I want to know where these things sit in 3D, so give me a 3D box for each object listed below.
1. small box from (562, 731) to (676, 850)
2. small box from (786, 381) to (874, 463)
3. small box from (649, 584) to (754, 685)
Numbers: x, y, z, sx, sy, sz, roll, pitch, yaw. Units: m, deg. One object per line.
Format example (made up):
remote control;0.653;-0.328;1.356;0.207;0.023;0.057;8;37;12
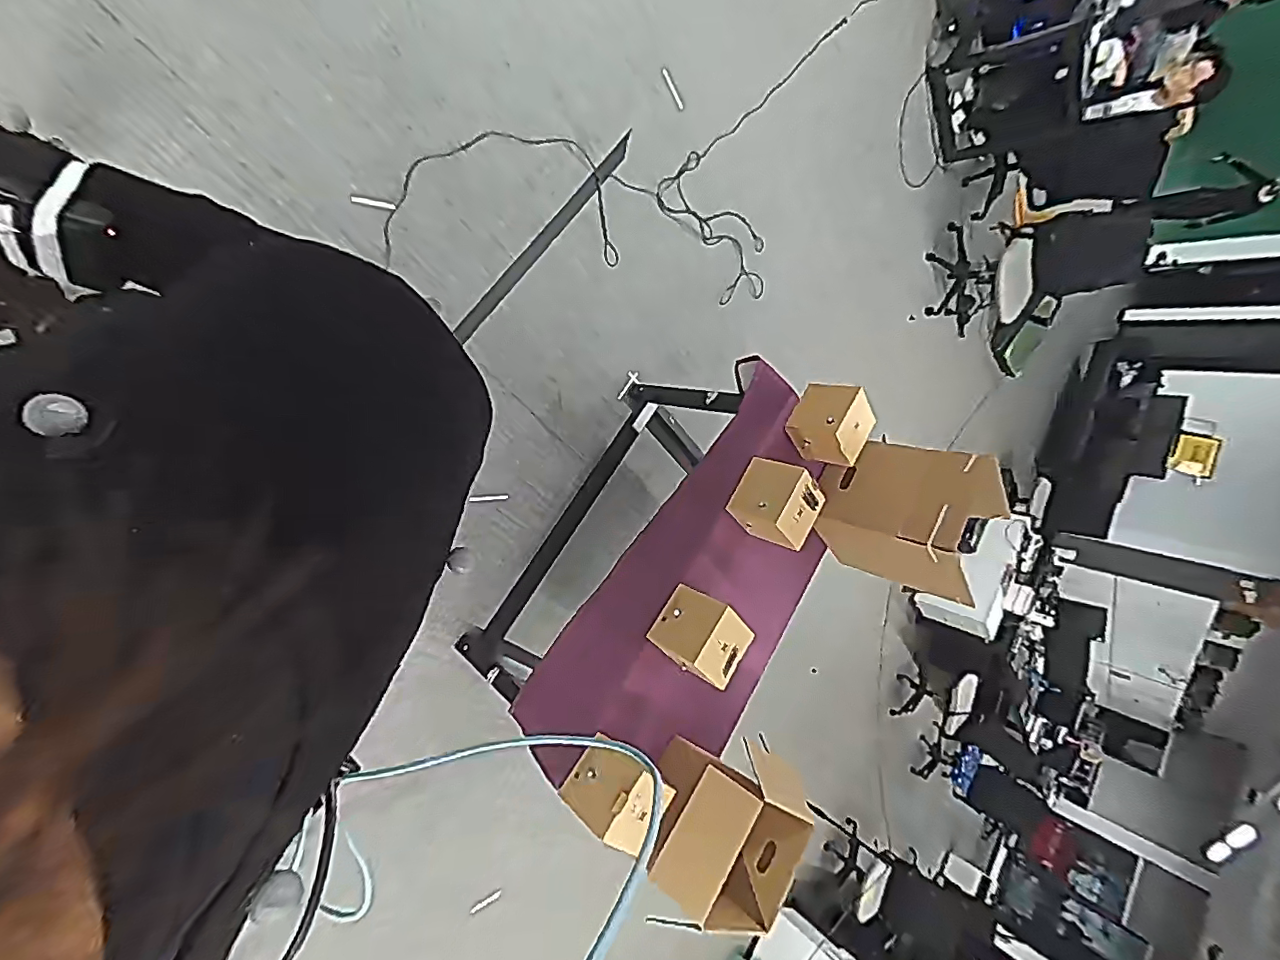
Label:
small box;-0.051;0.738;1.297;0.168;0.176;0.179;-53;131;-20
small box;0.567;-0.180;1.615;0.168;0.176;0.179;45;72;-41
small box;0.158;0.392;1.397;0.168;0.176;0.179;-55;131;-18
